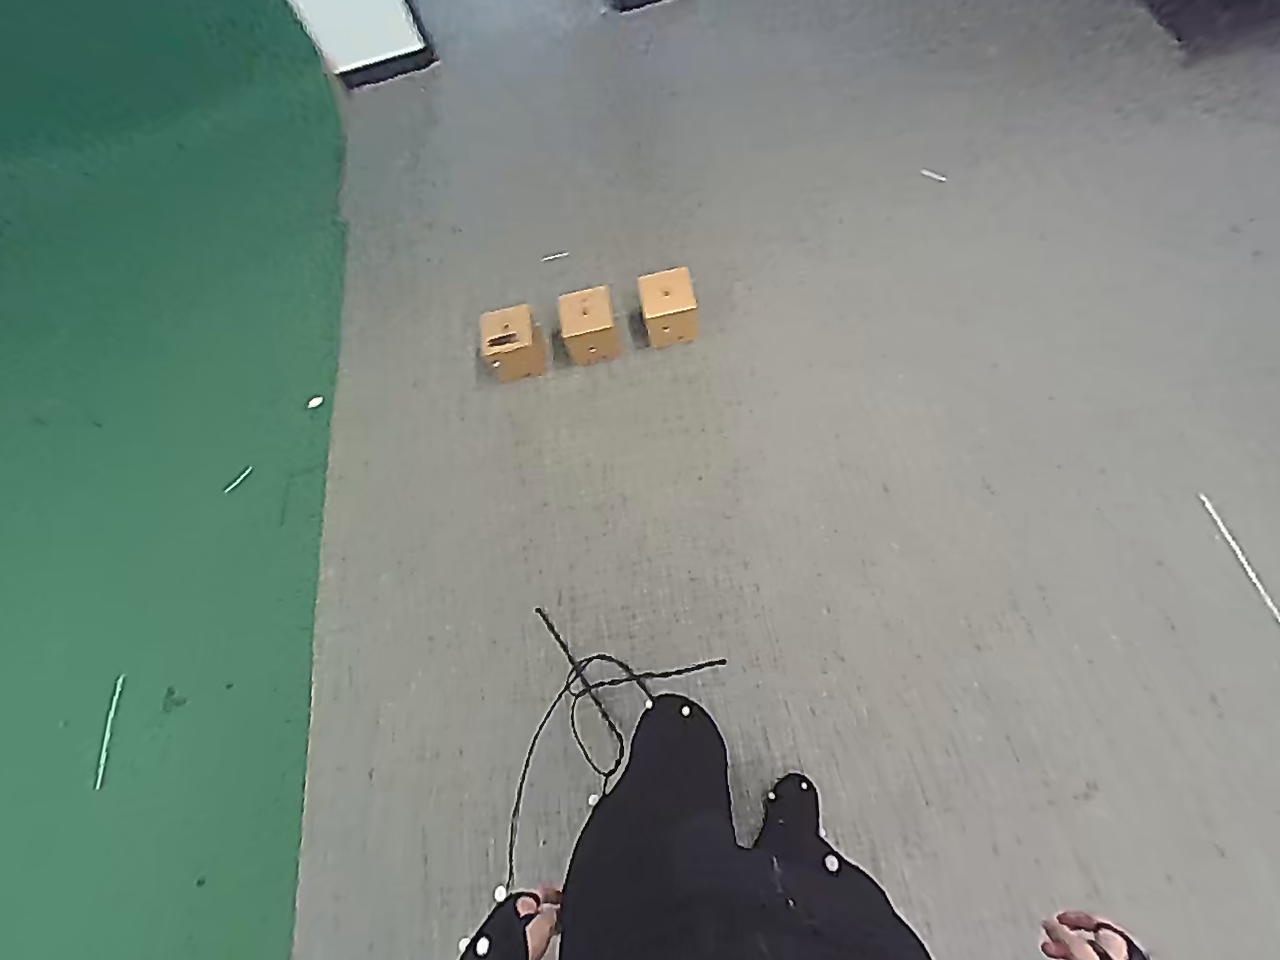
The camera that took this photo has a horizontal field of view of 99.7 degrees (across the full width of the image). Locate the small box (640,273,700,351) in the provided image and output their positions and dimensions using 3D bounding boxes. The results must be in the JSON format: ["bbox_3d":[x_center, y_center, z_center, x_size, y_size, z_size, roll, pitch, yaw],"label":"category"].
[{"bbox_3d":[0.105,-0.554,1.815,0.168,0.176,0.179,-12,66,5],"label":"small box"}]

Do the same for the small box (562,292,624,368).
[{"bbox_3d":[-0.156,-0.499,1.832,0.168,0.176,0.179,-11,66,4],"label":"small box"}]
